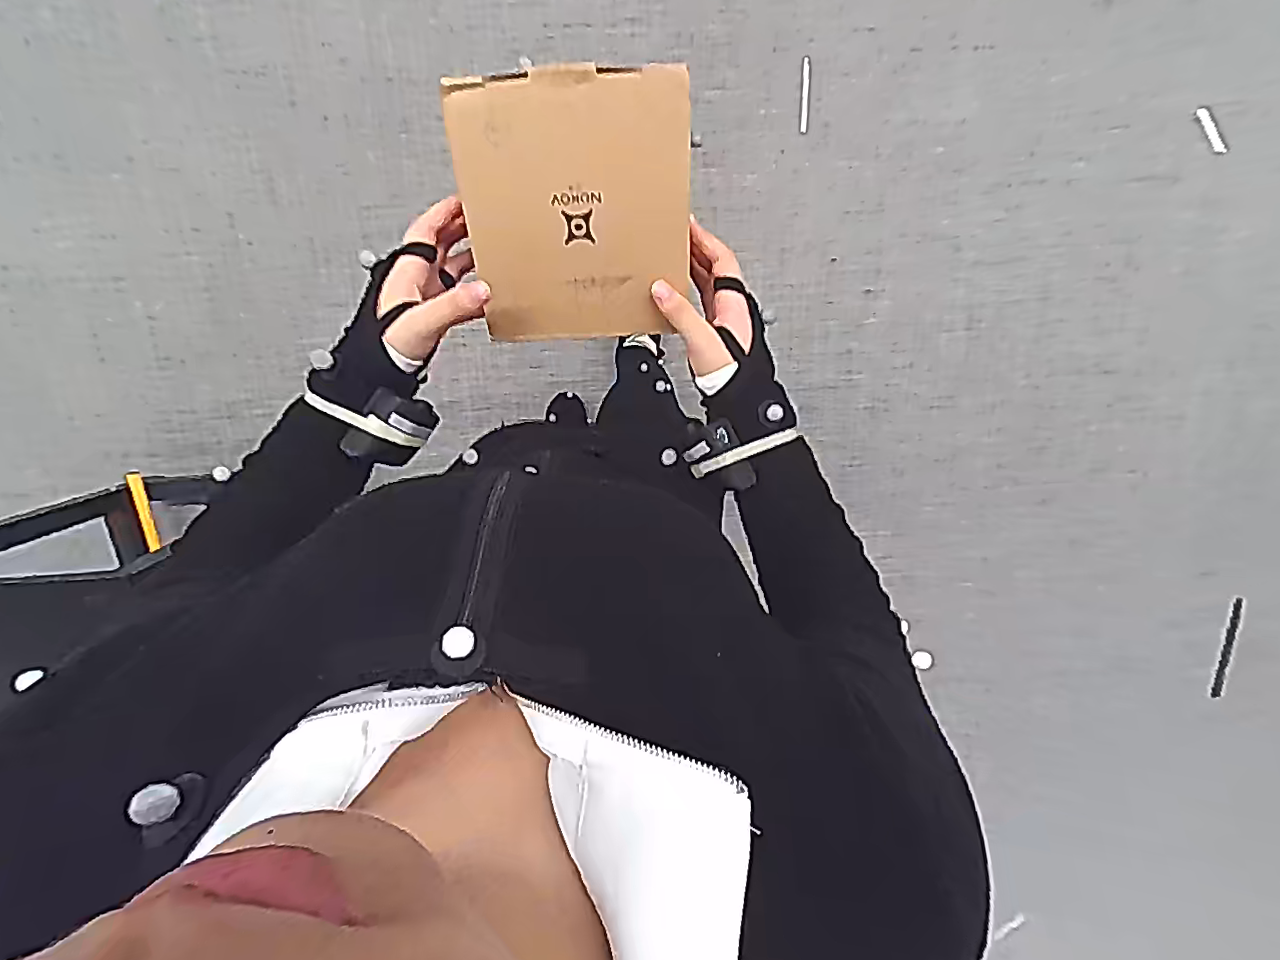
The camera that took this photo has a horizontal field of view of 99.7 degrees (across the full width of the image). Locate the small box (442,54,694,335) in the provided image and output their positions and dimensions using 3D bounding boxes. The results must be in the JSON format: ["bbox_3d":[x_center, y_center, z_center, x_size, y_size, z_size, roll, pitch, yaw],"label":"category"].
[{"bbox_3d":[-0.044,-0.237,0.456,0.168,0.176,0.179,-2,124,2],"label":"small box"}]
